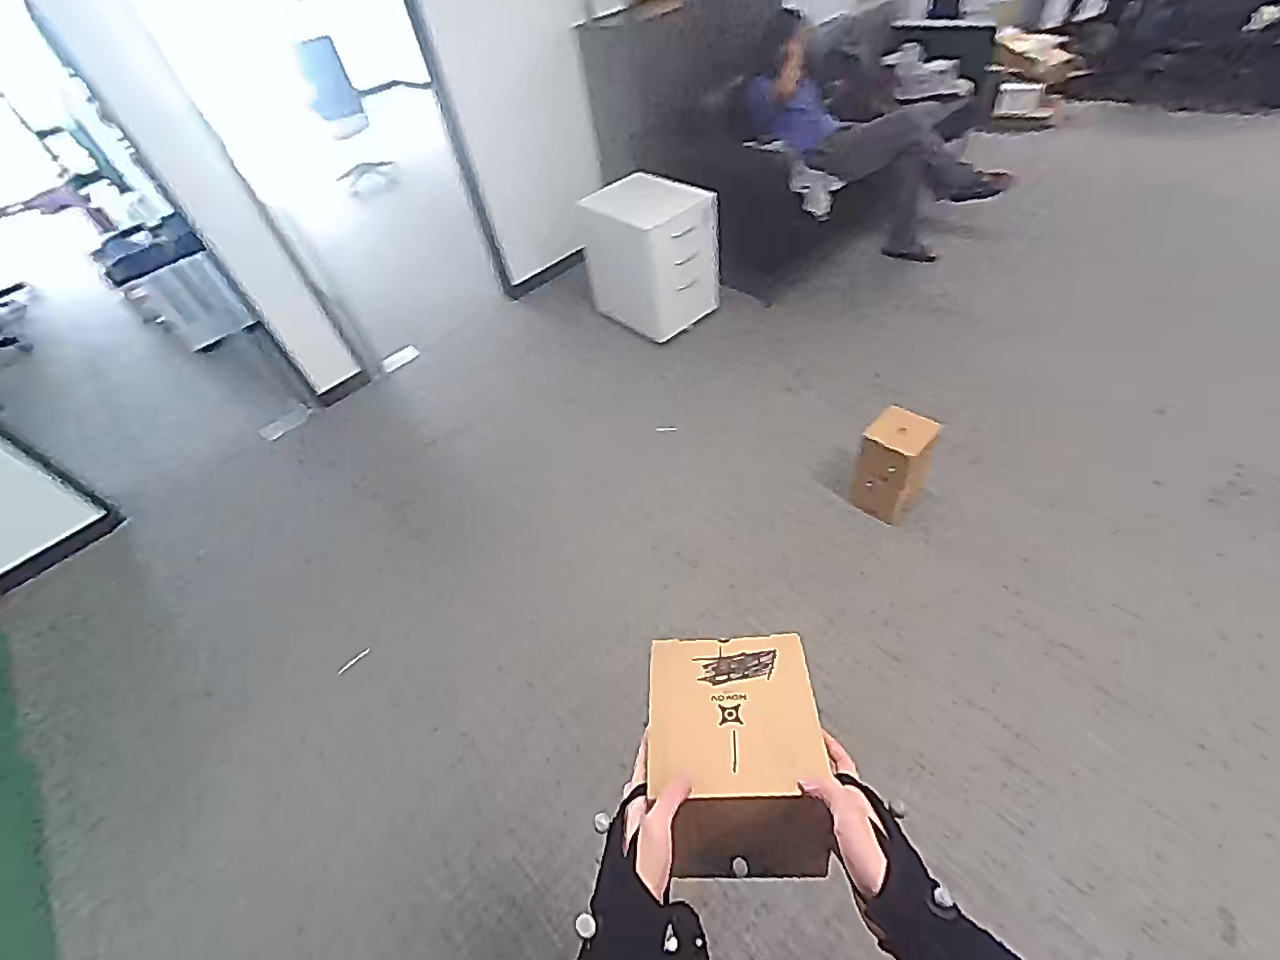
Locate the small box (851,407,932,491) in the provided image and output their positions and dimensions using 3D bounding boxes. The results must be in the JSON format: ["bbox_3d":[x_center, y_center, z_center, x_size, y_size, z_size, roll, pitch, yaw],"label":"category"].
[{"bbox_3d":[0.798,-0.097,1.734,0.179,0.176,0.168,-39,54,-25],"label":"small box"}]

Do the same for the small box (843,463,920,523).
[{"bbox_3d":[0.819,0.011,1.853,0.179,0.176,0.168,-38,53,-23],"label":"small box"}]

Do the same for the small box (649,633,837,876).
[{"bbox_3d":[0.104,0.290,0.584,0.168,0.176,0.179,-5,34,7],"label":"small box"}]
